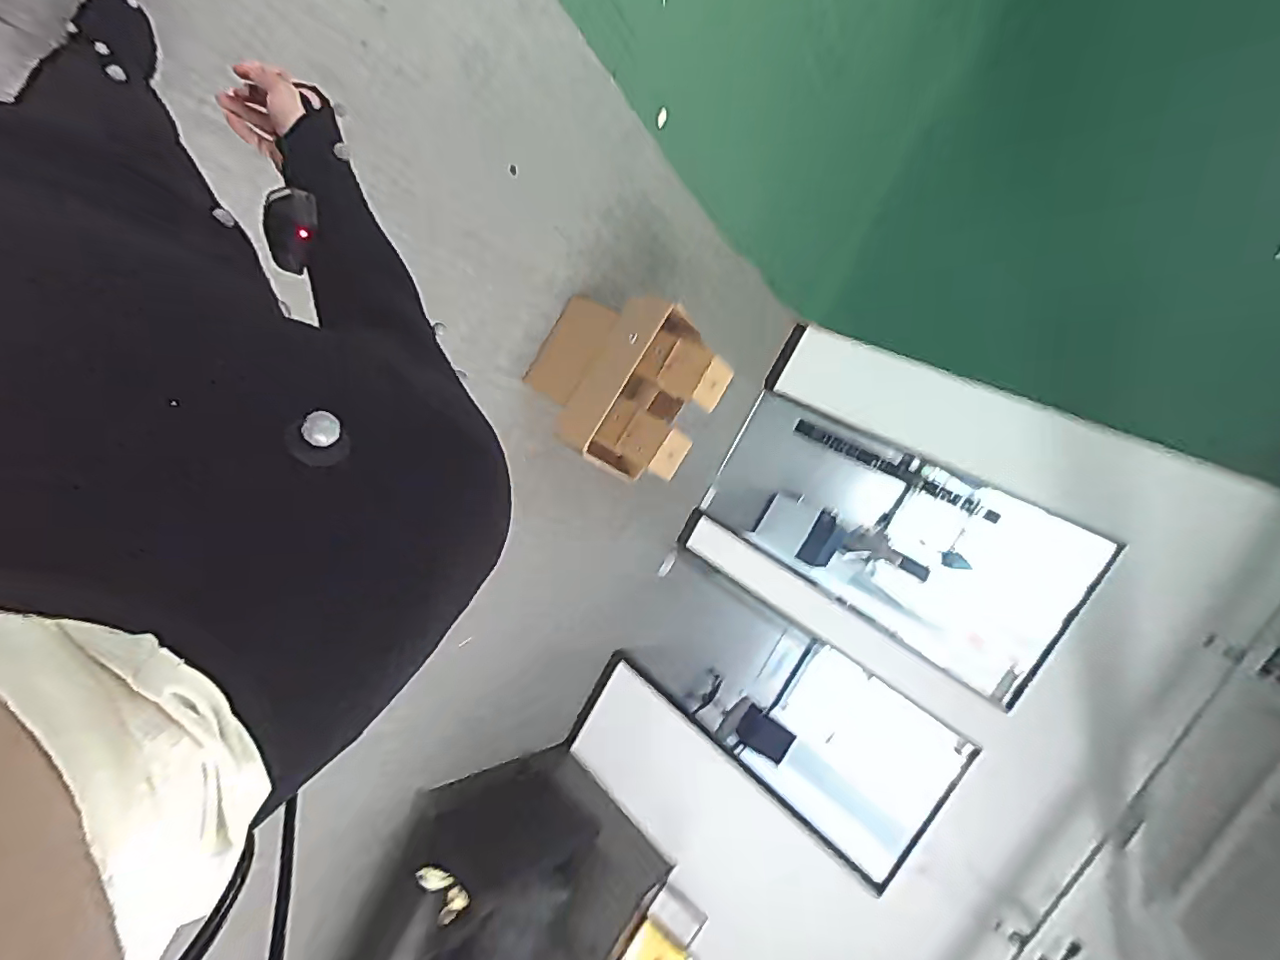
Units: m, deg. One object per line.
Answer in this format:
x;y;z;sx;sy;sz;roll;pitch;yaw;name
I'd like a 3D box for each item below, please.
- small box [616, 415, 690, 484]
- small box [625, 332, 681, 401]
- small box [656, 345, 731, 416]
0.044;-0.112;1.927;0.168;0.176;0.179;-58;149;2;small box
0.075;-0.425;2.009;0.179;0.176;0.168;-60;148;3;small box
0.188;-0.355;1.915;0.168;0.176;0.179;-60;148;4;small box
